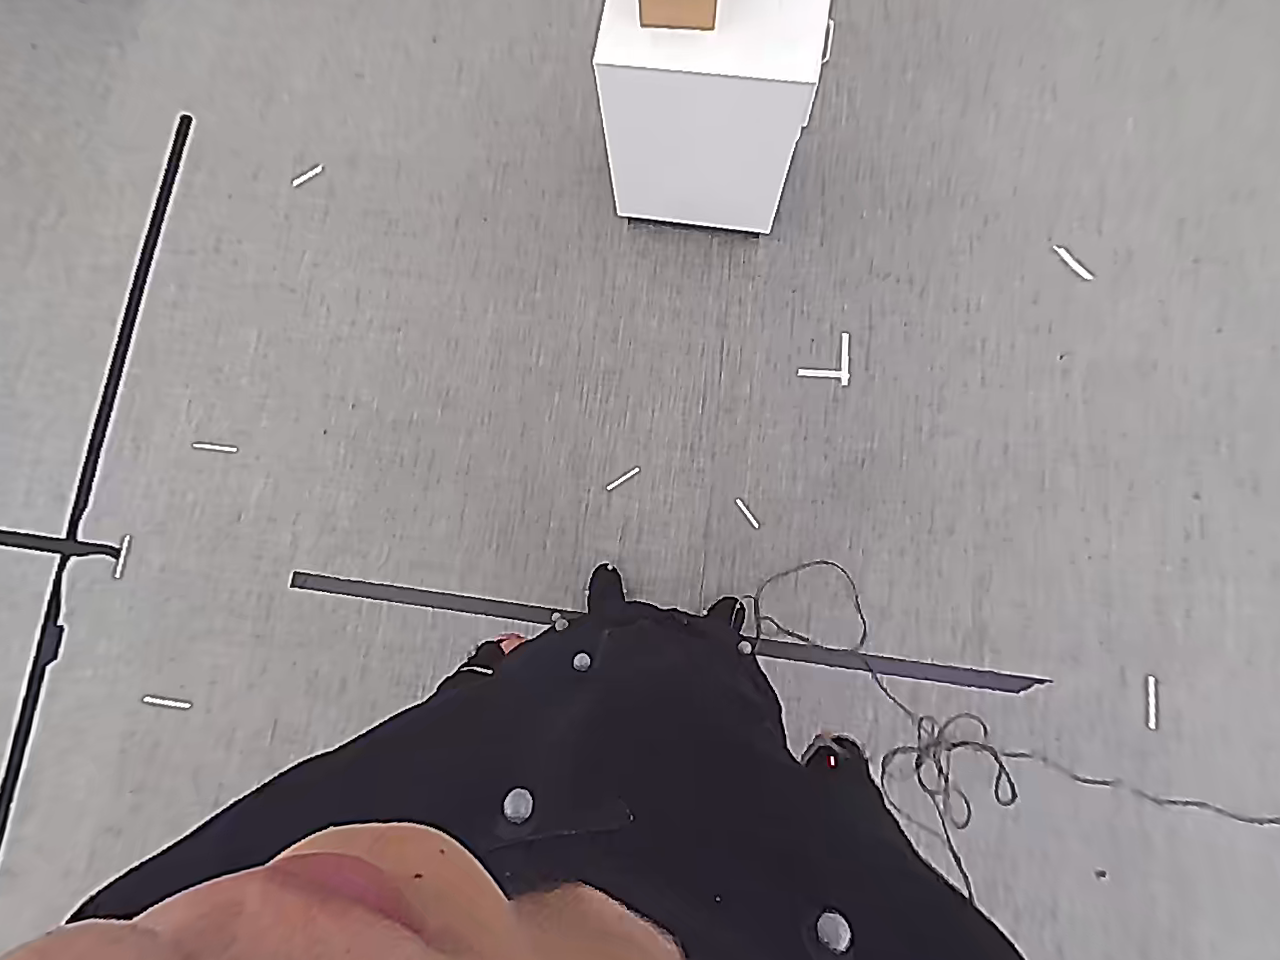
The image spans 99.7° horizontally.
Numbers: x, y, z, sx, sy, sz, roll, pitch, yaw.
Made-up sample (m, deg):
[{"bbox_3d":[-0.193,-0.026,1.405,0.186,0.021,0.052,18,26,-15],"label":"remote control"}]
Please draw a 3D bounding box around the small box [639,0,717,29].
[{"bbox_3d":[0.089,-1.137,1.183,0.179,0.176,0.168,7,82,3],"label":"small box"}]
